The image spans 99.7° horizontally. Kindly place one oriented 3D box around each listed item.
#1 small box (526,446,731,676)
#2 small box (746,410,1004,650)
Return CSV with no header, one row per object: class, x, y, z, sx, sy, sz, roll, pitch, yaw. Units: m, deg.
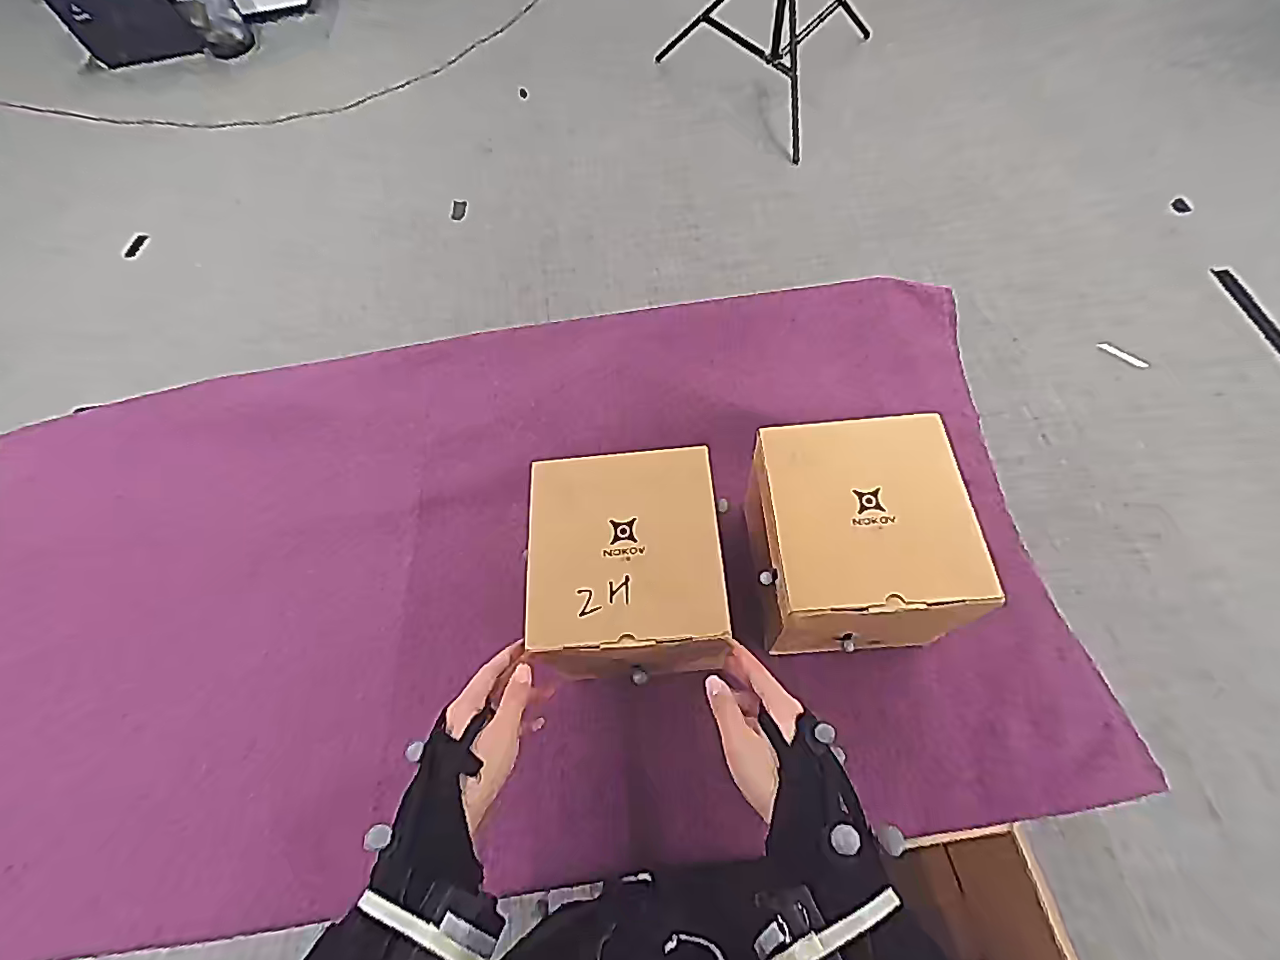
small box,-0.007,0.087,0.536,0.168,0.176,0.179,-6,63,3
small box,0.202,0.056,0.528,0.168,0.176,0.179,-6,62,4
